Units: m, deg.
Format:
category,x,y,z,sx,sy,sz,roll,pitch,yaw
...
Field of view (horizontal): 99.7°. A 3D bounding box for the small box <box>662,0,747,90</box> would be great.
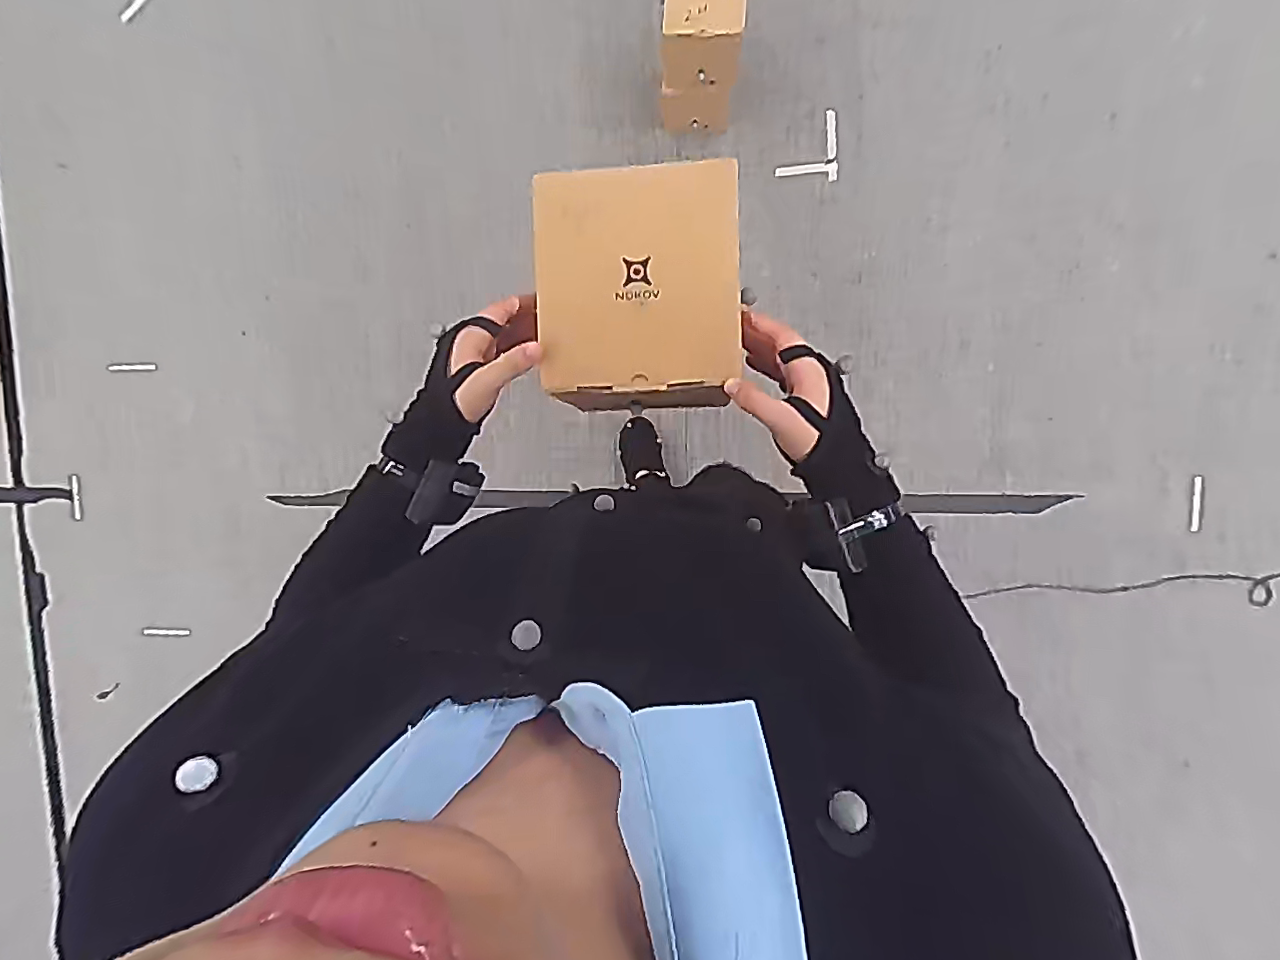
category,x,y,z,sx,sy,sz,roll,pitch,yaw
small box,0.140,-0.980,1.154,0.168,0.176,0.179,4,95,6
